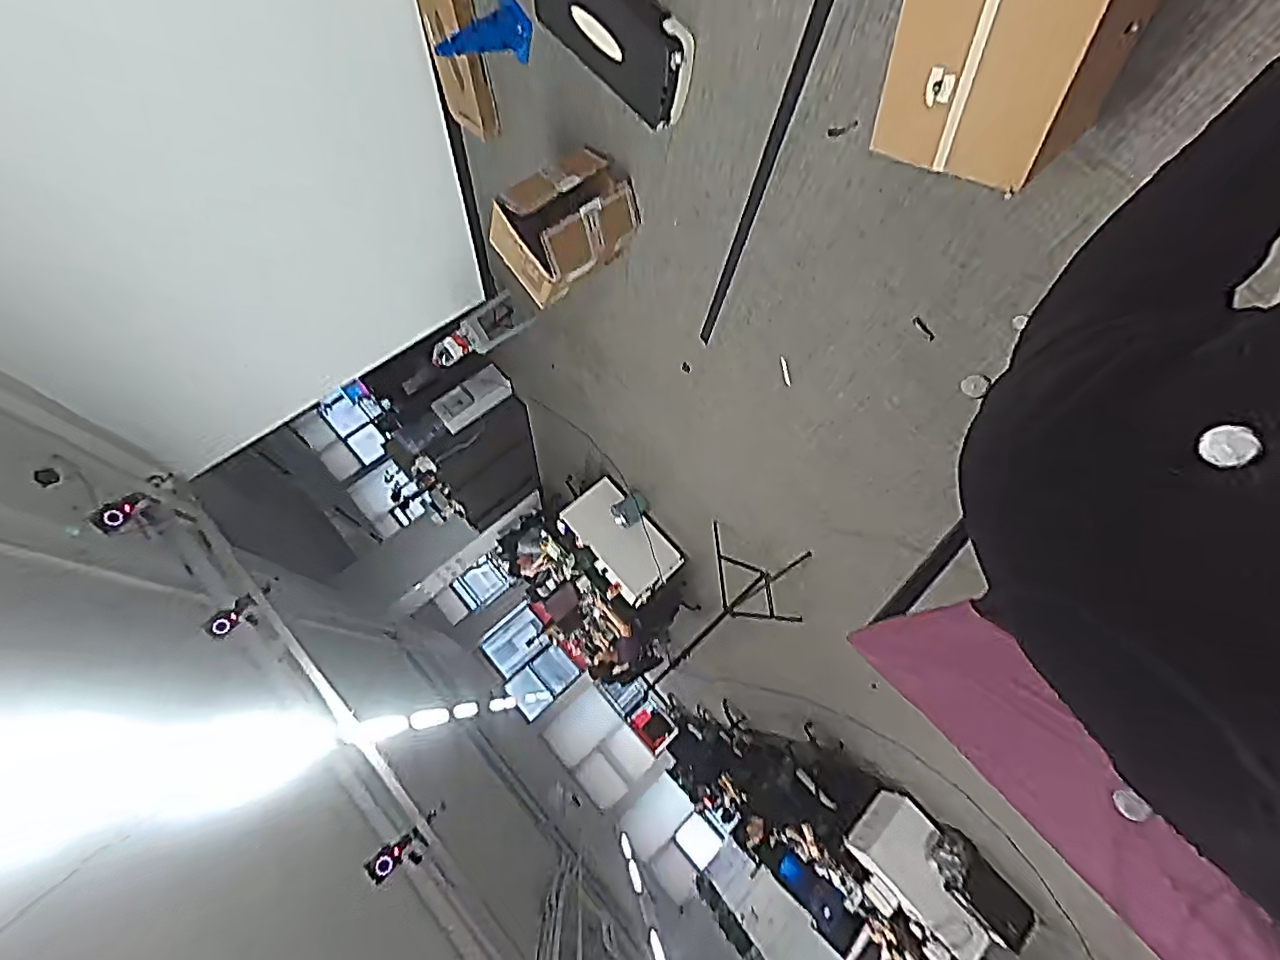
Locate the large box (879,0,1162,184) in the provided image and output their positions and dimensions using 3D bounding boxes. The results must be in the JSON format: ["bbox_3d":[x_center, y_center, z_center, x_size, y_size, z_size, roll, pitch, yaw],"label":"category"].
[{"bbox_3d":[0.675,-0.817,0.927,0.320,0.320,0.408,40,160,29],"label":"large box"}]
